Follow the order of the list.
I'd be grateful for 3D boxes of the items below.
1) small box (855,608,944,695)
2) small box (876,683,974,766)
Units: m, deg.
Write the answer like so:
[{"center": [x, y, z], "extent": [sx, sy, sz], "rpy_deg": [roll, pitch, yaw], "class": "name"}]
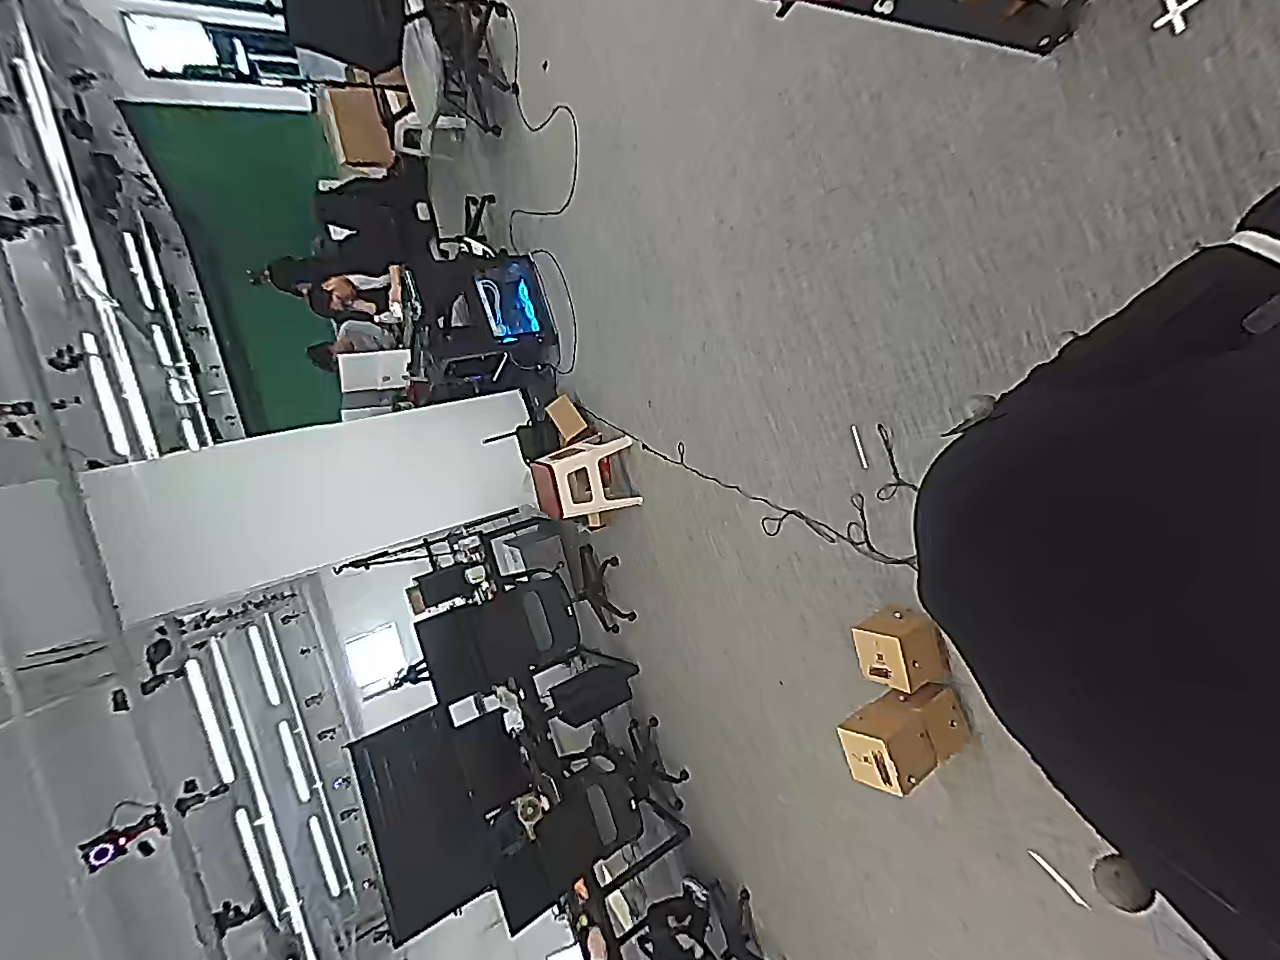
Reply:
[{"center": [0.794, 0.515, 1.648], "extent": [0.168, 0.176, 0.179], "rpy_deg": [-6, 101, 61], "class": "small box"}, {"center": [0.869, 0.737, 1.650], "extent": [0.179, 0.176, 0.168], "rpy_deg": [-31, 79, 60], "class": "small box"}]
